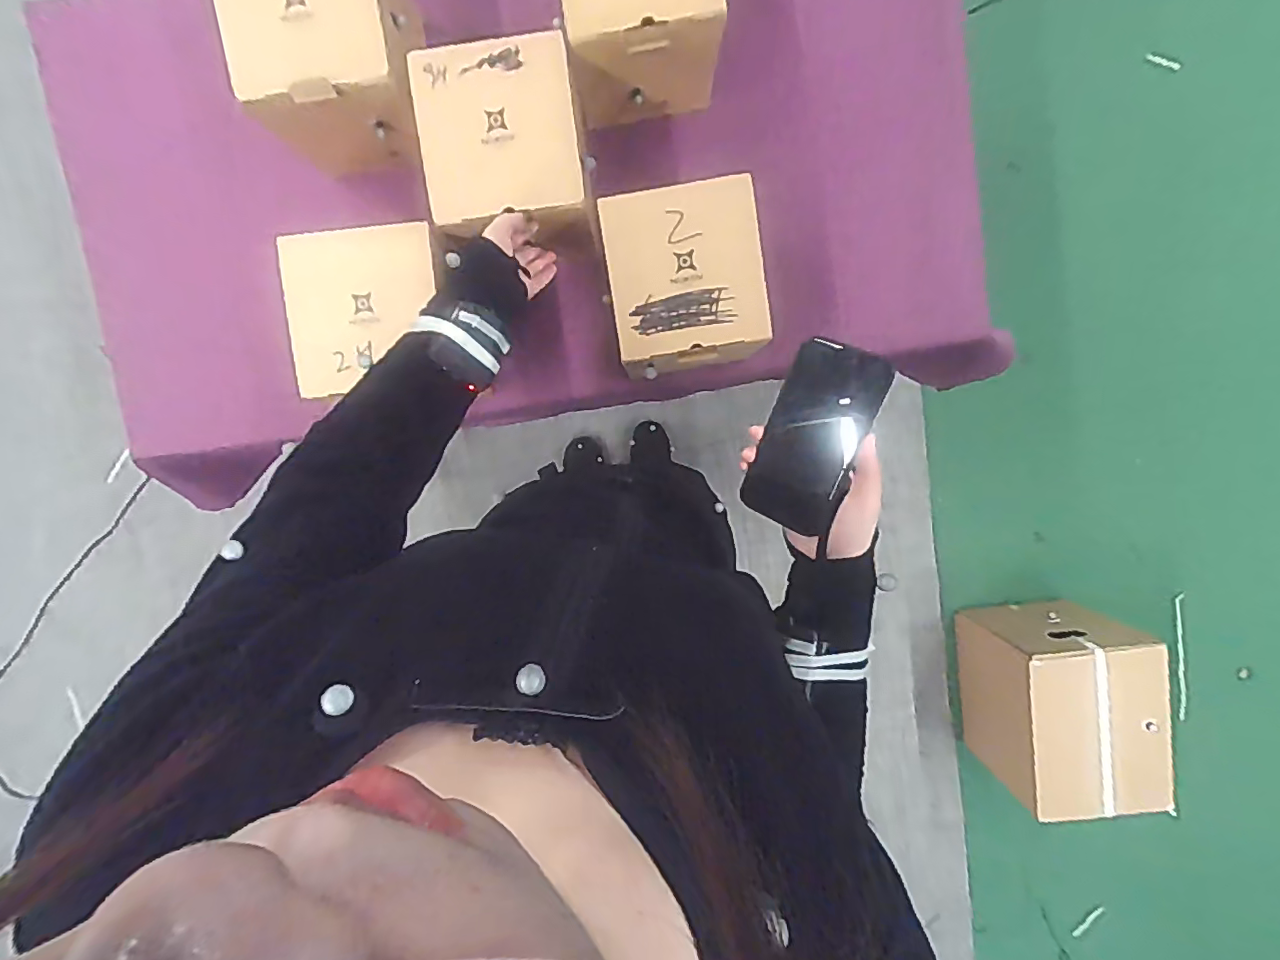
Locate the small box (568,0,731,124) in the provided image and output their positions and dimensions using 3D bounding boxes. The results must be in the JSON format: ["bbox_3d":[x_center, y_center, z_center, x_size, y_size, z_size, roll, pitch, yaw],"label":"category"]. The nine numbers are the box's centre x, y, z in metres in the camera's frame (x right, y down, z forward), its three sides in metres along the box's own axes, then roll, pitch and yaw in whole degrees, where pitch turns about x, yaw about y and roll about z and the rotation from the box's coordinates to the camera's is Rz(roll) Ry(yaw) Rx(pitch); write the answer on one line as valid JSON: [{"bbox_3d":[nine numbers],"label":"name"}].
[{"bbox_3d":[0.000,-0.556,0.622,0.168,0.176,0.179,-10,97,2],"label":"small box"}]

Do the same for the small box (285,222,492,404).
[{"bbox_3d":[-0.292,-0.190,0.663,0.168,0.176,0.179,-5,96,2],"label":"small box"}]

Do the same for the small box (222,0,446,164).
[{"bbox_3d":[-0.345,-0.497,0.634,0.168,0.176,0.179,-8,96,1],"label":"small box"}]
